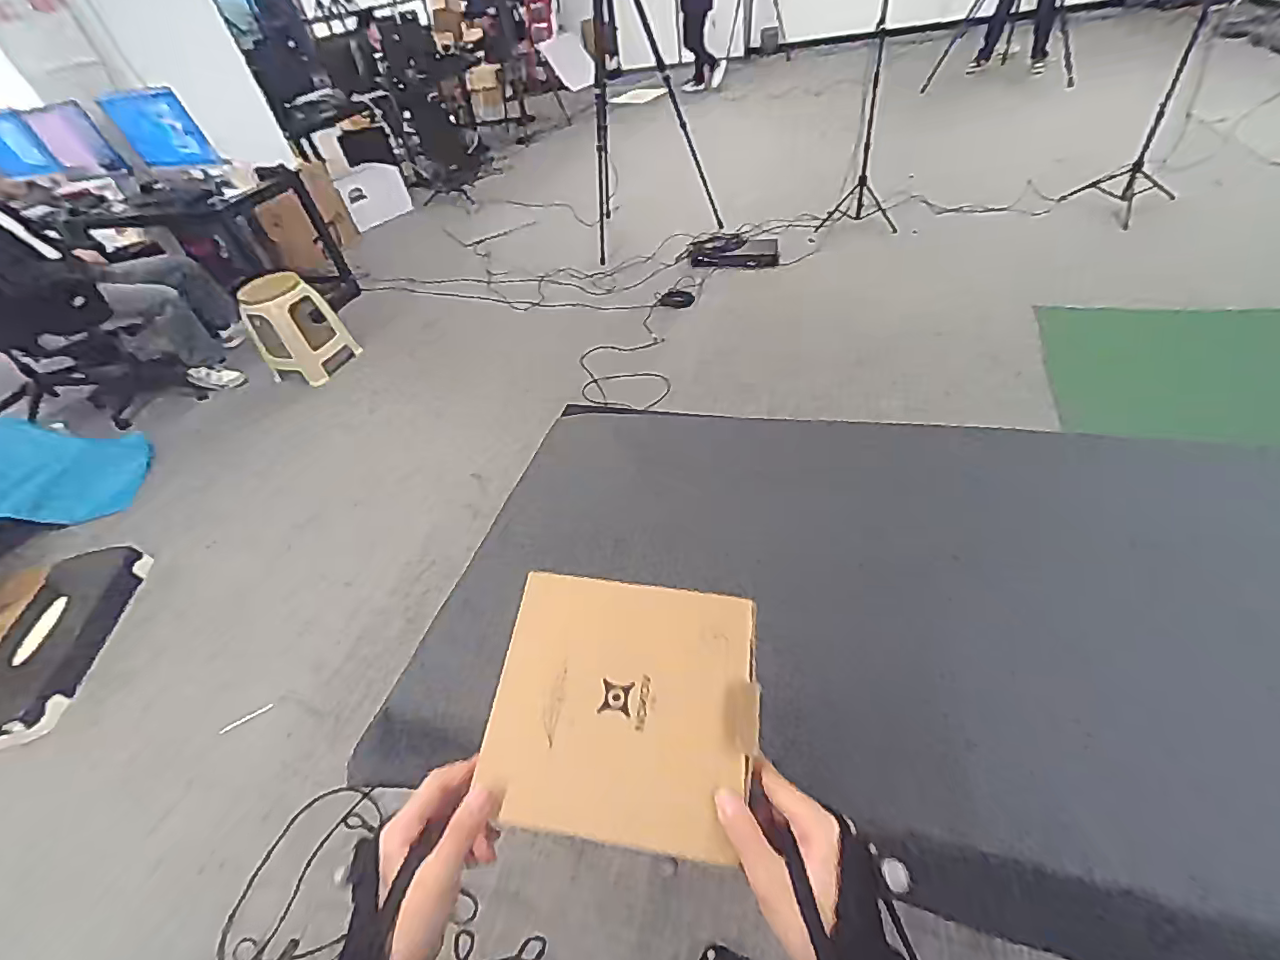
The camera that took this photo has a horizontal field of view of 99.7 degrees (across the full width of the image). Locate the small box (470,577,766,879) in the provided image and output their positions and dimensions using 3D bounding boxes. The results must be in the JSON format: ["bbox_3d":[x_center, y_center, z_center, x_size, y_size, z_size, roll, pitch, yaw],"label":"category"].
[{"bbox_3d":[-0.002,0.193,0.425,0.179,0.176,0.168,5,57,8],"label":"small box"}]
